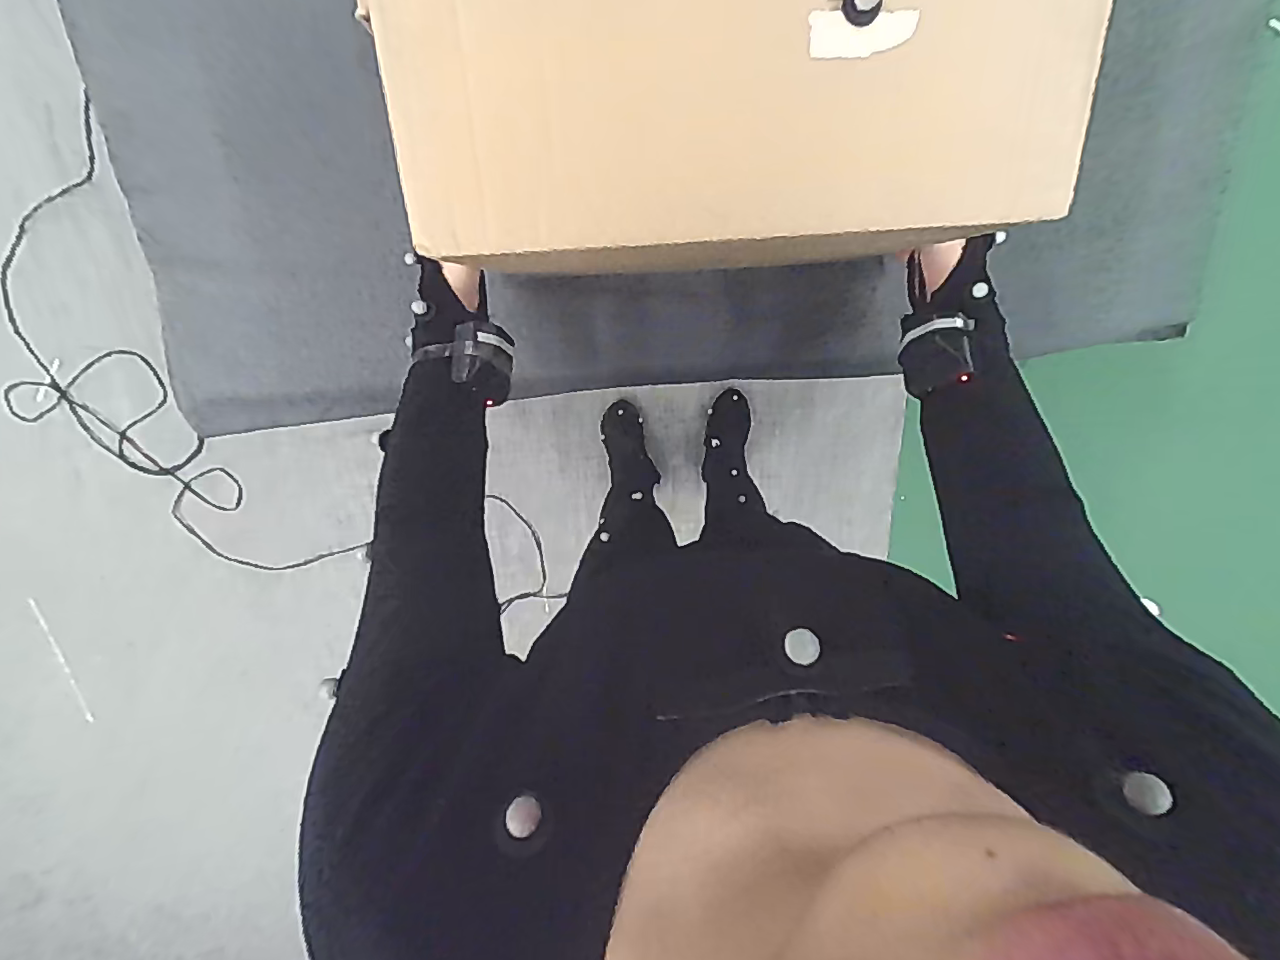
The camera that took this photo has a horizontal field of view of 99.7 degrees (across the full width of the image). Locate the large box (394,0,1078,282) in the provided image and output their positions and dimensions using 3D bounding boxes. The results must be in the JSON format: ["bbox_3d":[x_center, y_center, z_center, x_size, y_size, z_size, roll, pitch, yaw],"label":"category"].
[{"bbox_3d":[0.052,-0.349,0.447,0.408,0.320,0.320,-3,108,1],"label":"large box"}]
